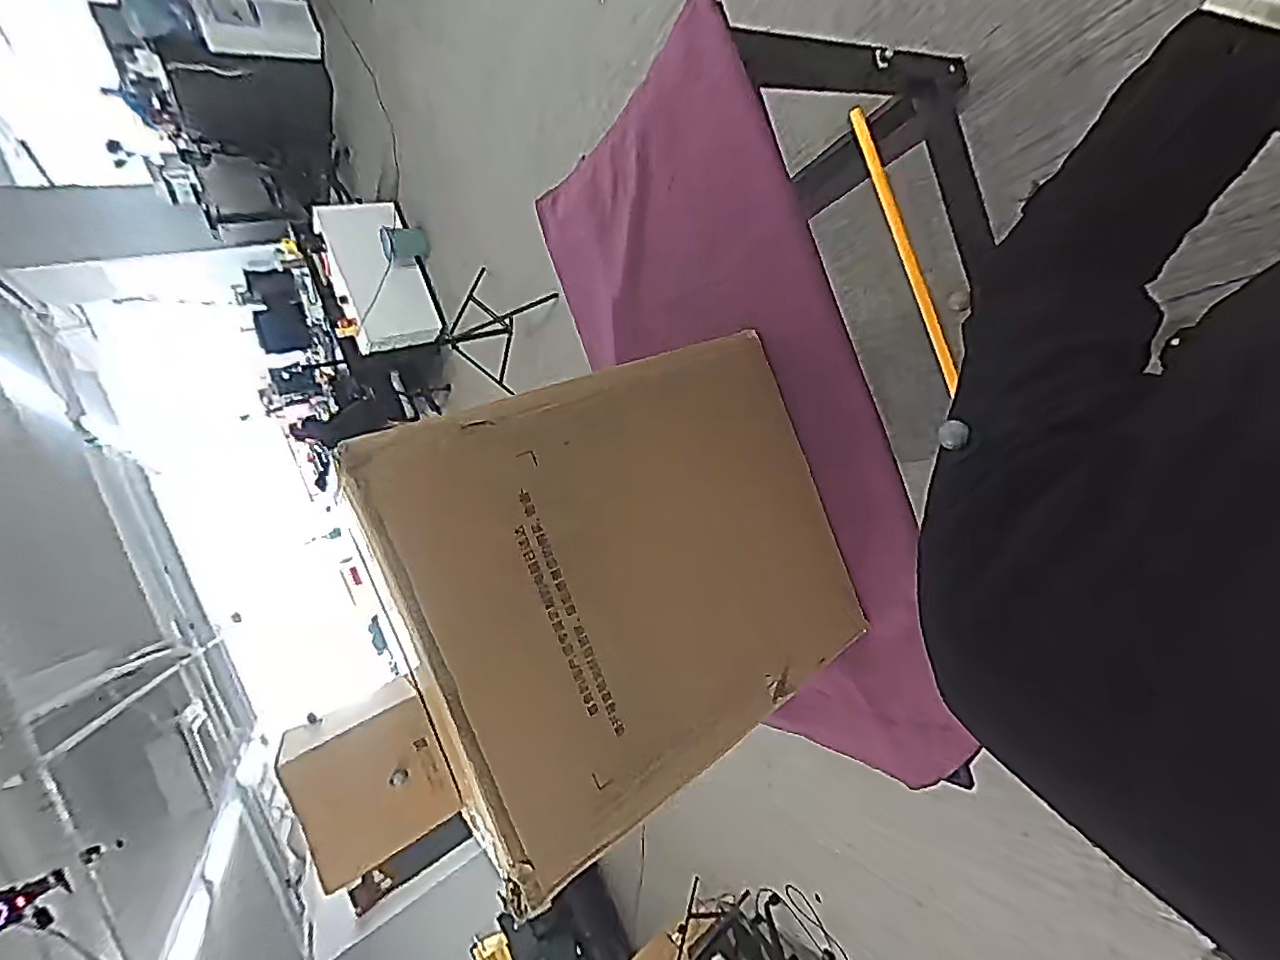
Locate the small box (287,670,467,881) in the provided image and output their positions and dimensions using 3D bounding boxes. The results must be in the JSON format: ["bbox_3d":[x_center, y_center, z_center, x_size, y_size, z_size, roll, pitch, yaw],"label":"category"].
[{"bbox_3d":[-0.356,0.383,0.743,0.179,0.176,0.168,-18,94,59],"label":"small box"}]
